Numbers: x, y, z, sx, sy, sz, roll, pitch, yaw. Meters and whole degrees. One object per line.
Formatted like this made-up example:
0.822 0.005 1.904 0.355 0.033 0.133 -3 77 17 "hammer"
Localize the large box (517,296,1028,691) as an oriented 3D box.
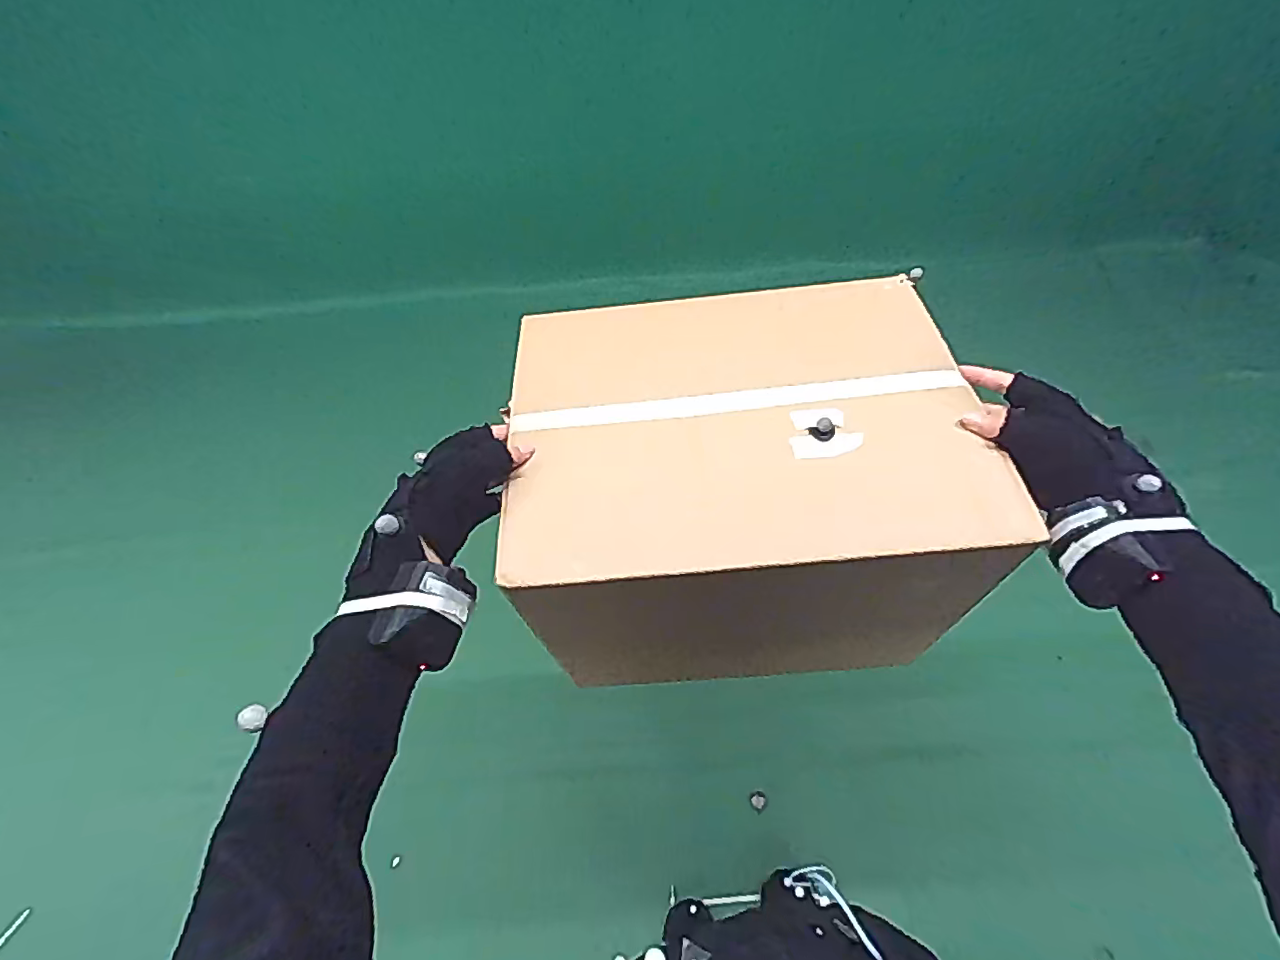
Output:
0.100 0.029 0.619 0.408 0.320 0.320 -5 55 2 "large box"
